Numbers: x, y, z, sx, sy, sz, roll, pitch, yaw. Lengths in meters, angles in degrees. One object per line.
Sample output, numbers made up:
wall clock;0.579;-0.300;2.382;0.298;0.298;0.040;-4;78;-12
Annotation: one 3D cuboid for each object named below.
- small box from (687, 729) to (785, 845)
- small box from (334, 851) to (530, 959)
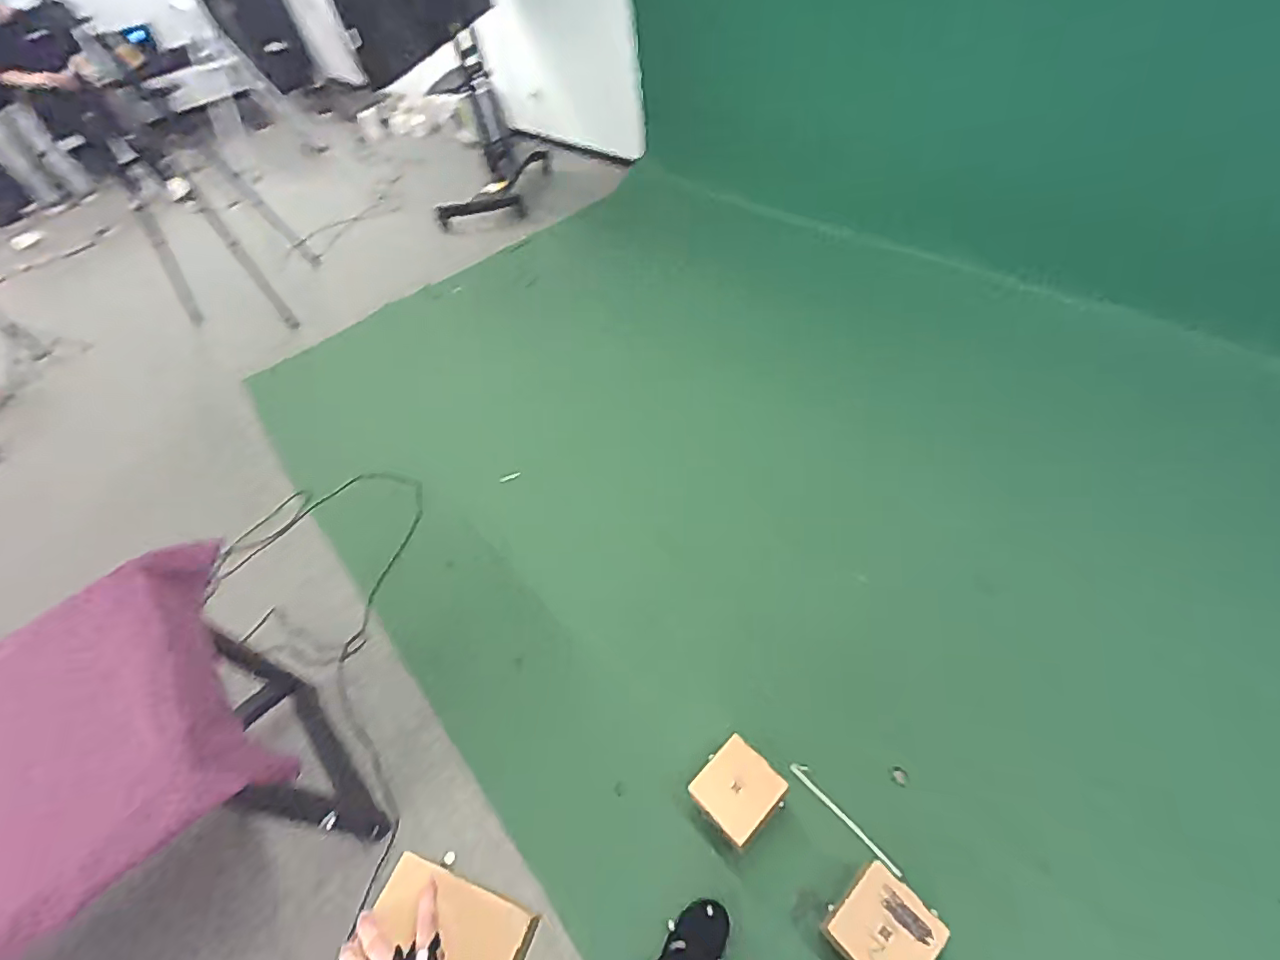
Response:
small box;0.239;0.760;1.333;0.179;0.176;0.168;-38;54;-21
small box;-0.251;0.583;0.655;0.179;0.176;0.168;19;54;9
